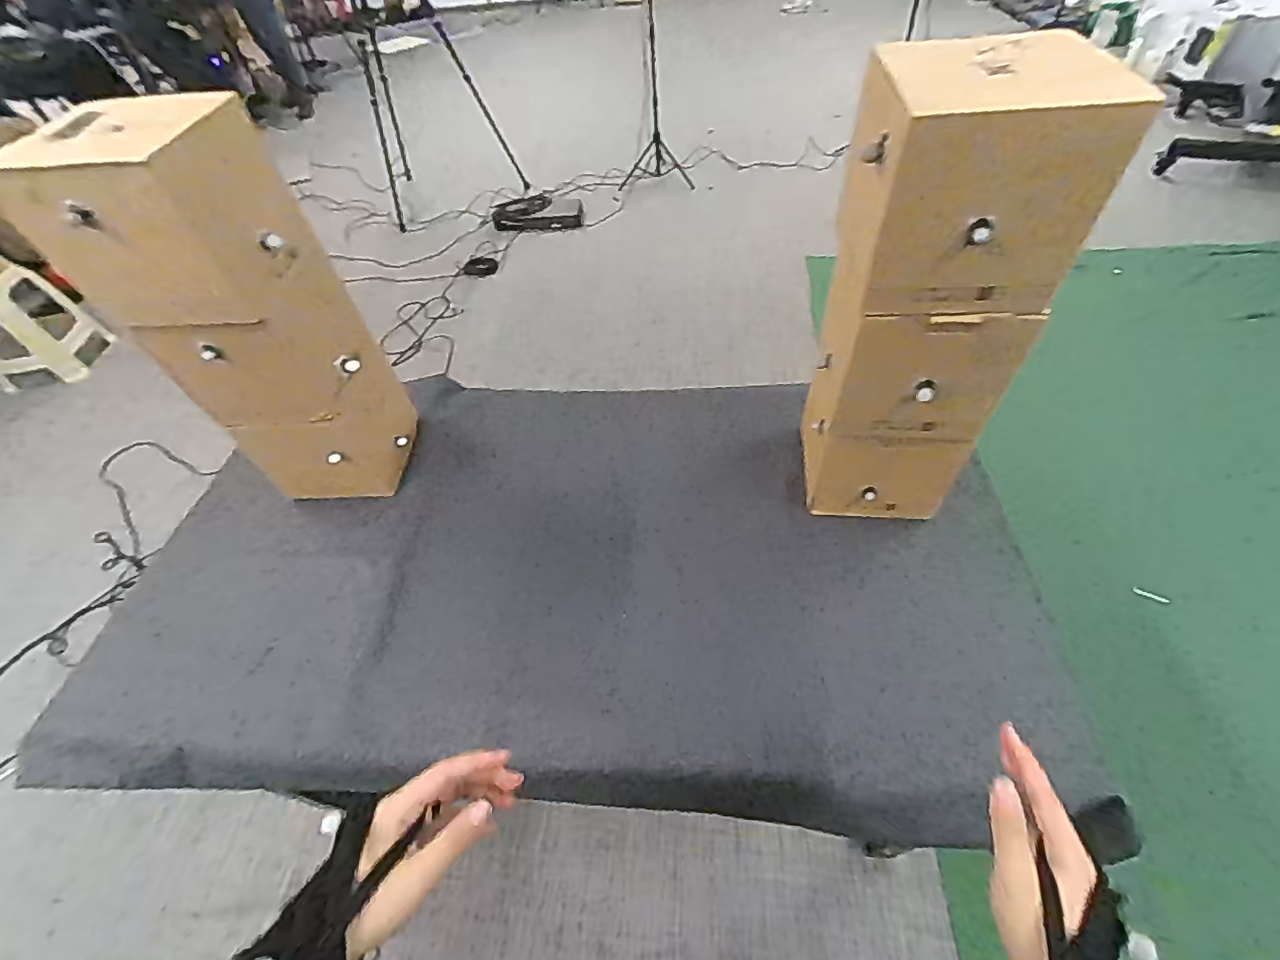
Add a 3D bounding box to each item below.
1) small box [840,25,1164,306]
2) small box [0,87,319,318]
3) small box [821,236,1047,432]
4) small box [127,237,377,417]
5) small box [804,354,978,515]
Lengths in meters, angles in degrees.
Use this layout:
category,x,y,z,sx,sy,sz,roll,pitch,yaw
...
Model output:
category,x,y,z,sx,sy,sz,roll,pitch,yaw
small box,0.288,-0.273,0.486,0.168,0.176,0.179,2,52,7
small box,-0.495,-0.290,0.579,0.179,0.176,0.168,0,53,4
small box,0.309,-0.171,0.614,0.168,0.176,0.179,3,53,8
small box,-0.487,-0.196,0.714,0.179,0.176,0.168,-2,53,3
small box,0.325,-0.073,0.745,0.168,0.176,0.179,2,52,8
